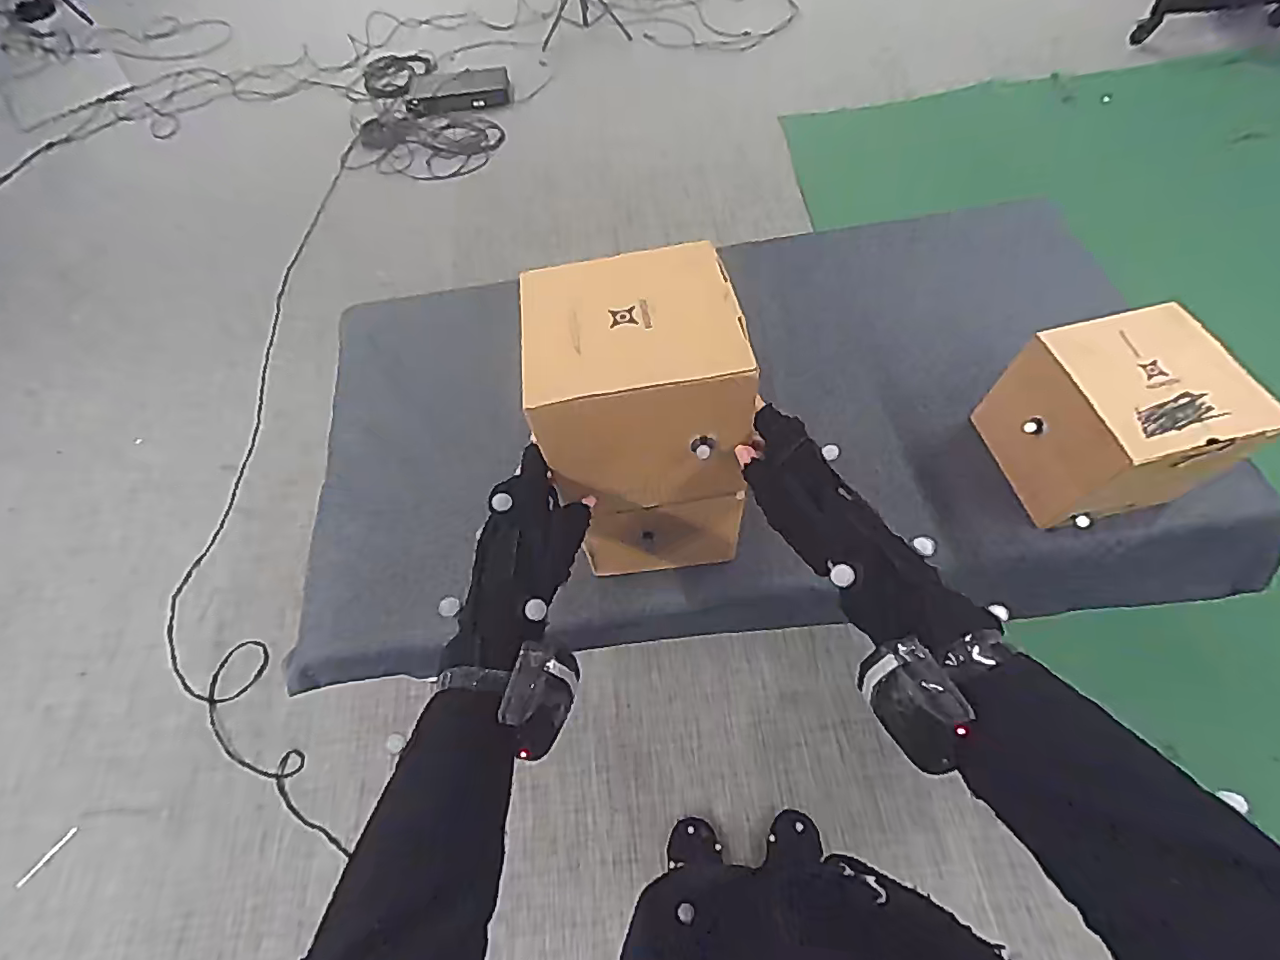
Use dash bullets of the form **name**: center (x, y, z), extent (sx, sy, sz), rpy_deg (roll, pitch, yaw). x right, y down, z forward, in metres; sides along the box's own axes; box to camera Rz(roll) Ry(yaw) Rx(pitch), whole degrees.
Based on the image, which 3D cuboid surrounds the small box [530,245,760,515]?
- **small box**: center (0.004, -0.086, 0.512), extent (0.179, 0.176, 0.168), rpy_deg (-11, 56, 2)

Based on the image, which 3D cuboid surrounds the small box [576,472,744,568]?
- **small box**: center (0.023, -0.003, 0.655), extent (0.179, 0.176, 0.168), rpy_deg (-7, 60, 2)

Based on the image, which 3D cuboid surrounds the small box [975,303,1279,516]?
- **small box**: center (0.544, -0.071, 0.637), extent (0.168, 0.176, 0.179), rpy_deg (-13, 60, 0)
